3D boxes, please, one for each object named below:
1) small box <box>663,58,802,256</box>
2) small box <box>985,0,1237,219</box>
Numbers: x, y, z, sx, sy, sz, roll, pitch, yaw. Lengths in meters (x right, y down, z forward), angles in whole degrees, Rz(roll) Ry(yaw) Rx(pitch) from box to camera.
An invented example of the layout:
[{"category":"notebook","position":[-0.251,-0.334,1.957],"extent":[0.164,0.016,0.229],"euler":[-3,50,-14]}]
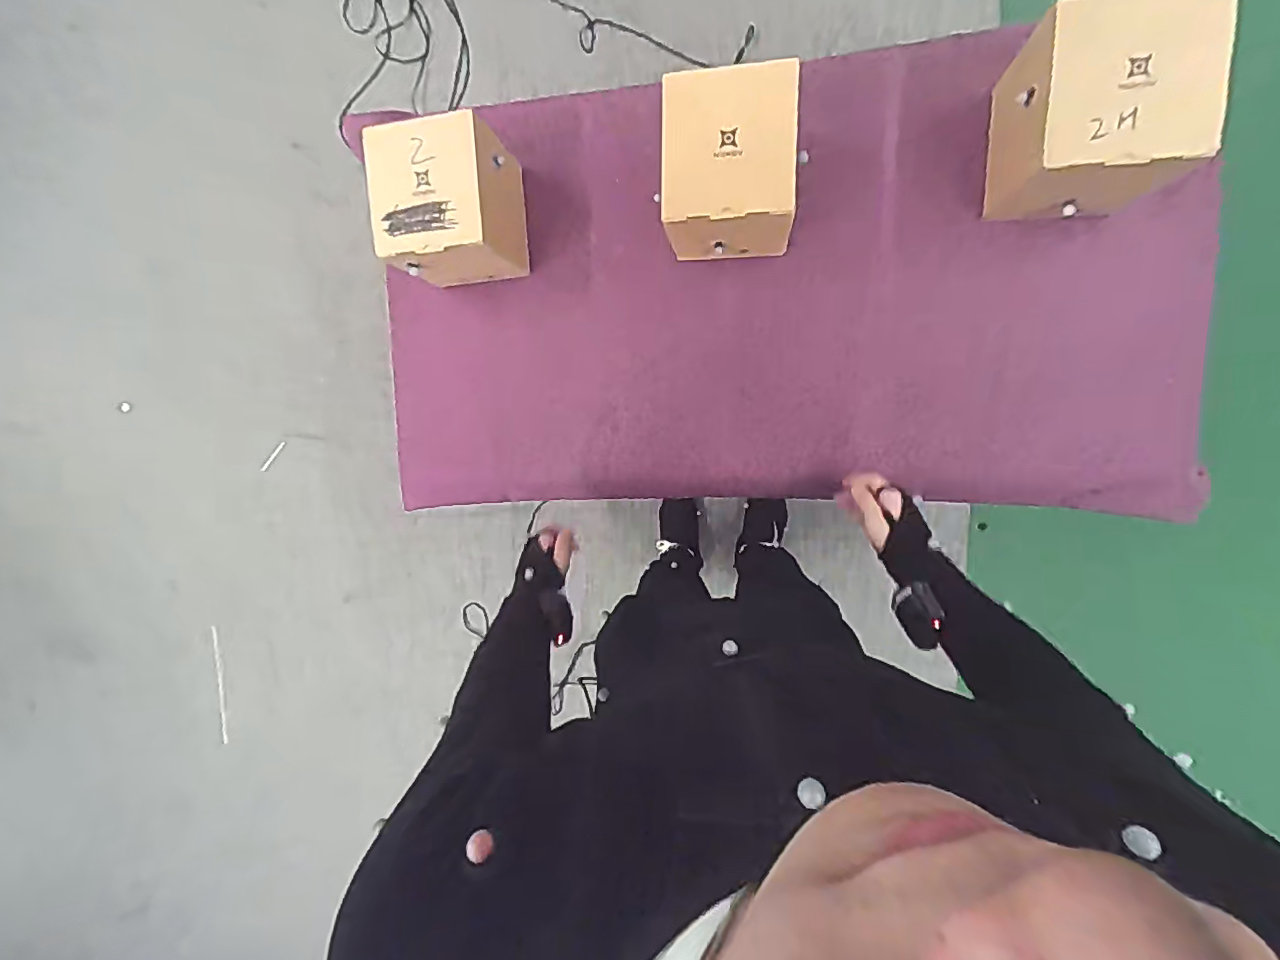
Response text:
[{"category":"small box","position":[0.122,-0.421,0.735],"extent":[0.168,0.176,0.179],"euler":[1,98,10]},{"category":"small box","position":[0.543,-0.438,0.652],"extent":[0.168,0.176,0.179],"euler":[2,97,12]}]
